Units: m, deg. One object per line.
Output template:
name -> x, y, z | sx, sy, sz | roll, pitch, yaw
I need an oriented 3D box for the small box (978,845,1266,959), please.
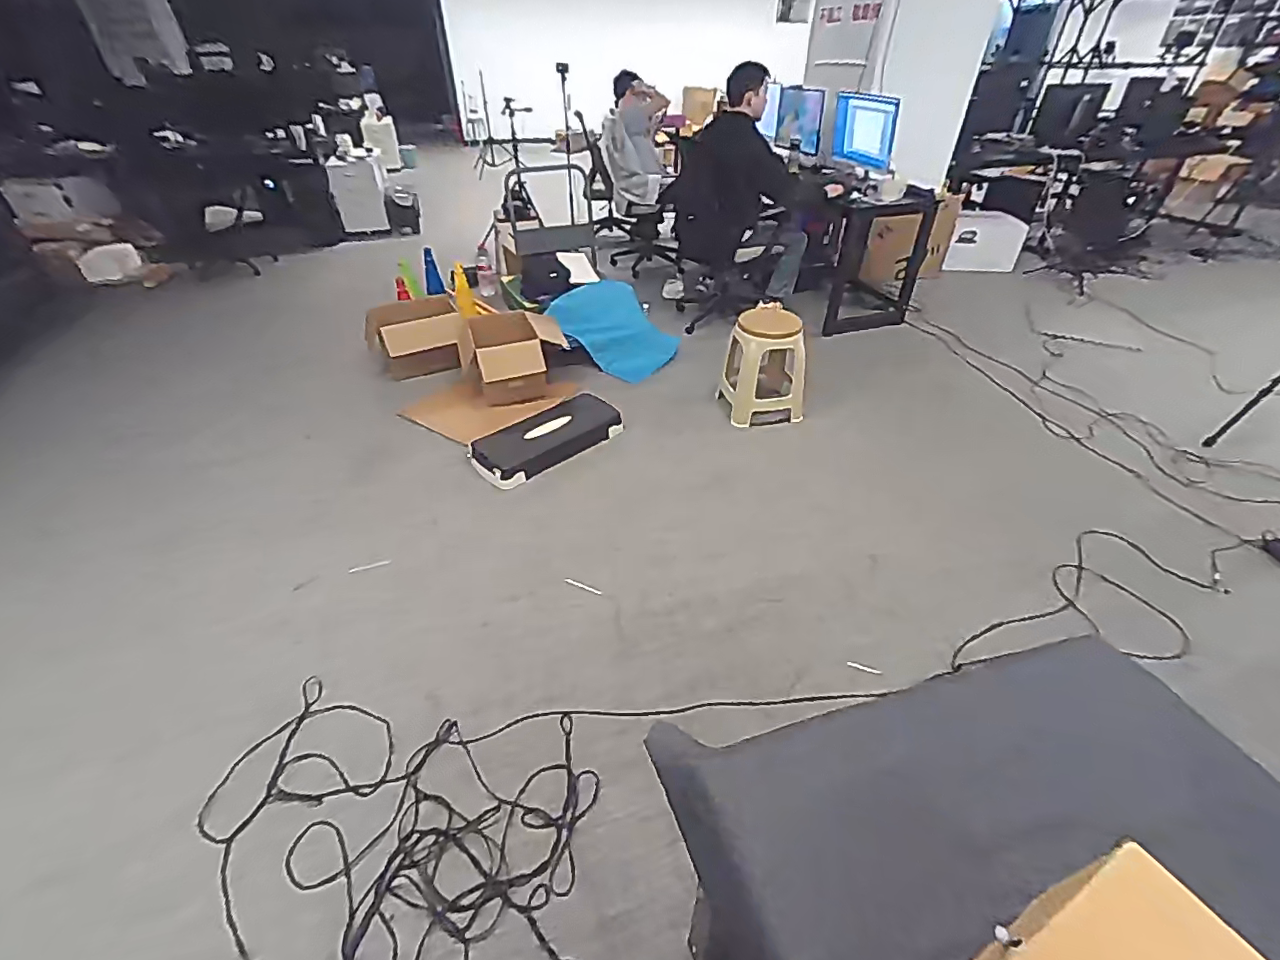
small box -> 0.365, 0.425, 0.402 | 0.179, 0.176, 0.168 | -19, 43, -22
